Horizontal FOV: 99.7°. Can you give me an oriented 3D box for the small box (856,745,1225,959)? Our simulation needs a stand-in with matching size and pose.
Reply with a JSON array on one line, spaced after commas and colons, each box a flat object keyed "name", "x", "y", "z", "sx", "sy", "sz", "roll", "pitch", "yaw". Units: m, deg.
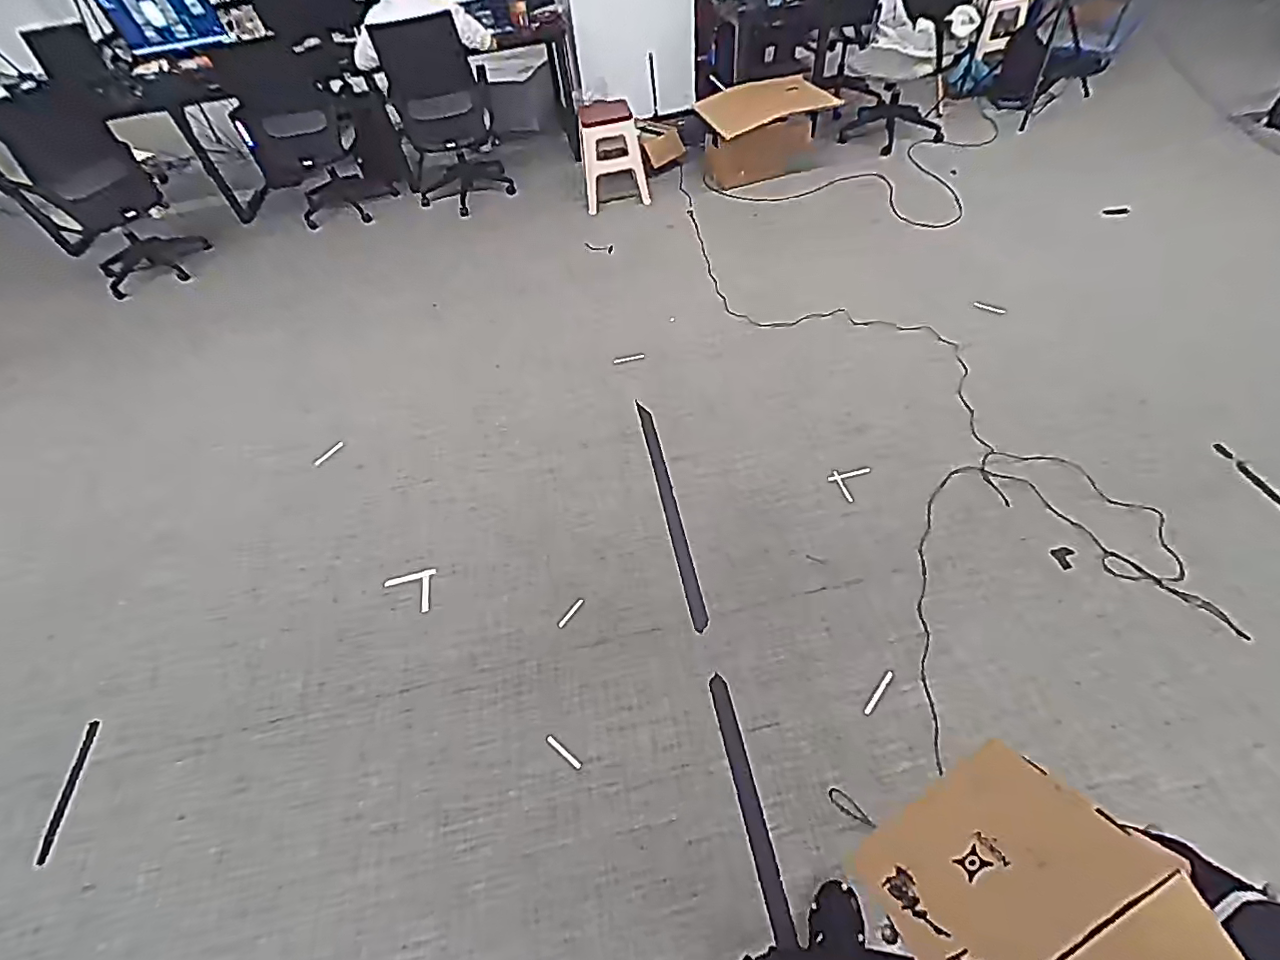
[{"name": "small box", "x": 0.322, "y": 0.368, "z": 0.437, "sx": 0.179, "sy": 0.168, "sz": 0.176, "roll": -36, "pitch": 92, "yaw": -1}]
